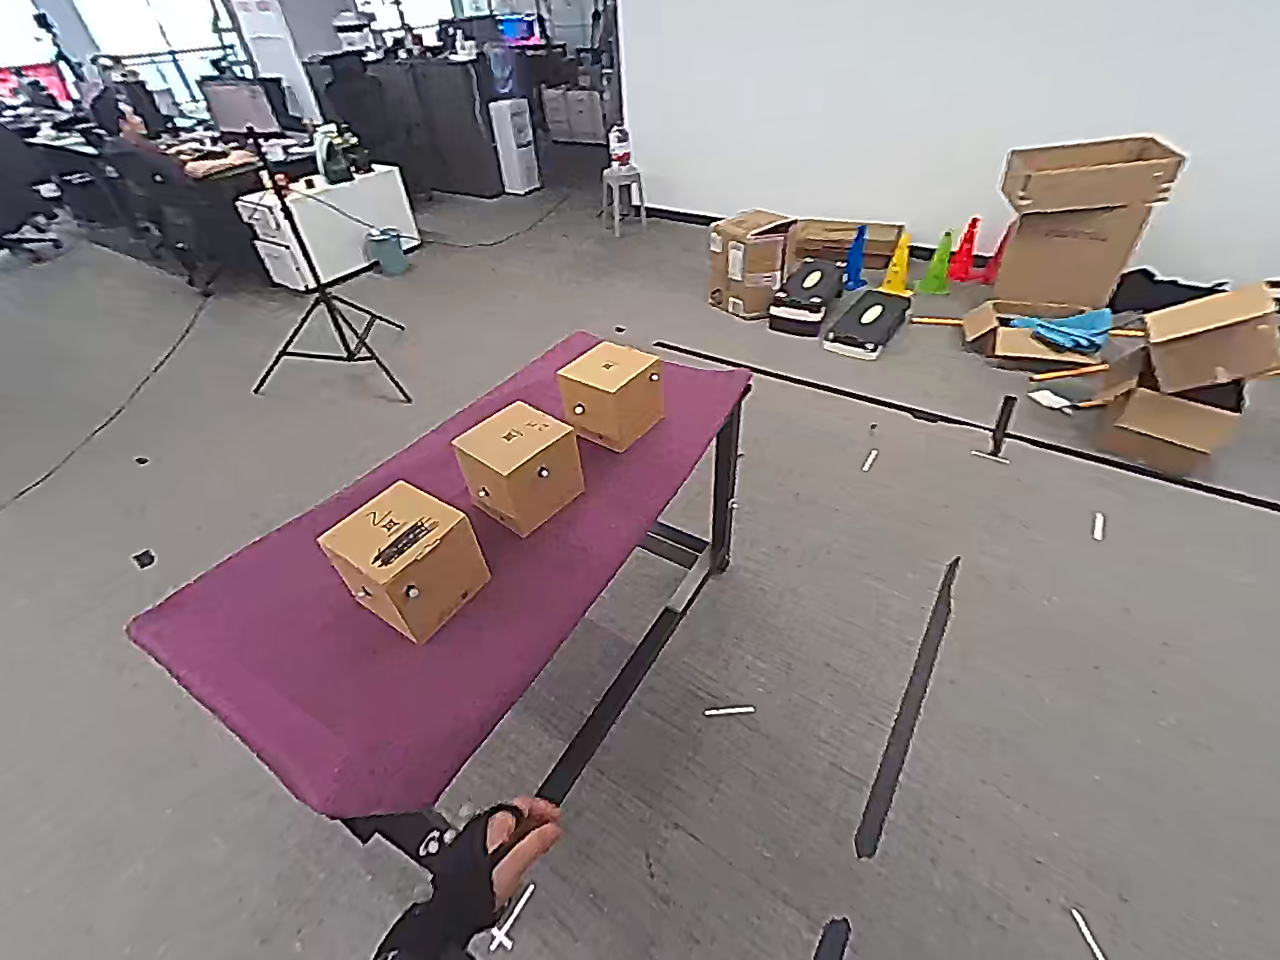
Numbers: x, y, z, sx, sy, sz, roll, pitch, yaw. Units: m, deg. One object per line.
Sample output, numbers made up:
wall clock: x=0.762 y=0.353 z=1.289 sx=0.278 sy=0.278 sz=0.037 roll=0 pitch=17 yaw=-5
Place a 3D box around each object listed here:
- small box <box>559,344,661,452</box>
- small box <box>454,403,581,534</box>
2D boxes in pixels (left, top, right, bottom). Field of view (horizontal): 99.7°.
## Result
small box: x=-0.061 y=-0.191 z=1.263 sx=0.168 sy=0.176 sz=0.179 roll=23 pitch=48 yaw=29
small box: x=-0.235 y=-0.022 z=1.087 sx=0.168 sy=0.176 sz=0.179 roll=28 pitch=51 yaw=30
